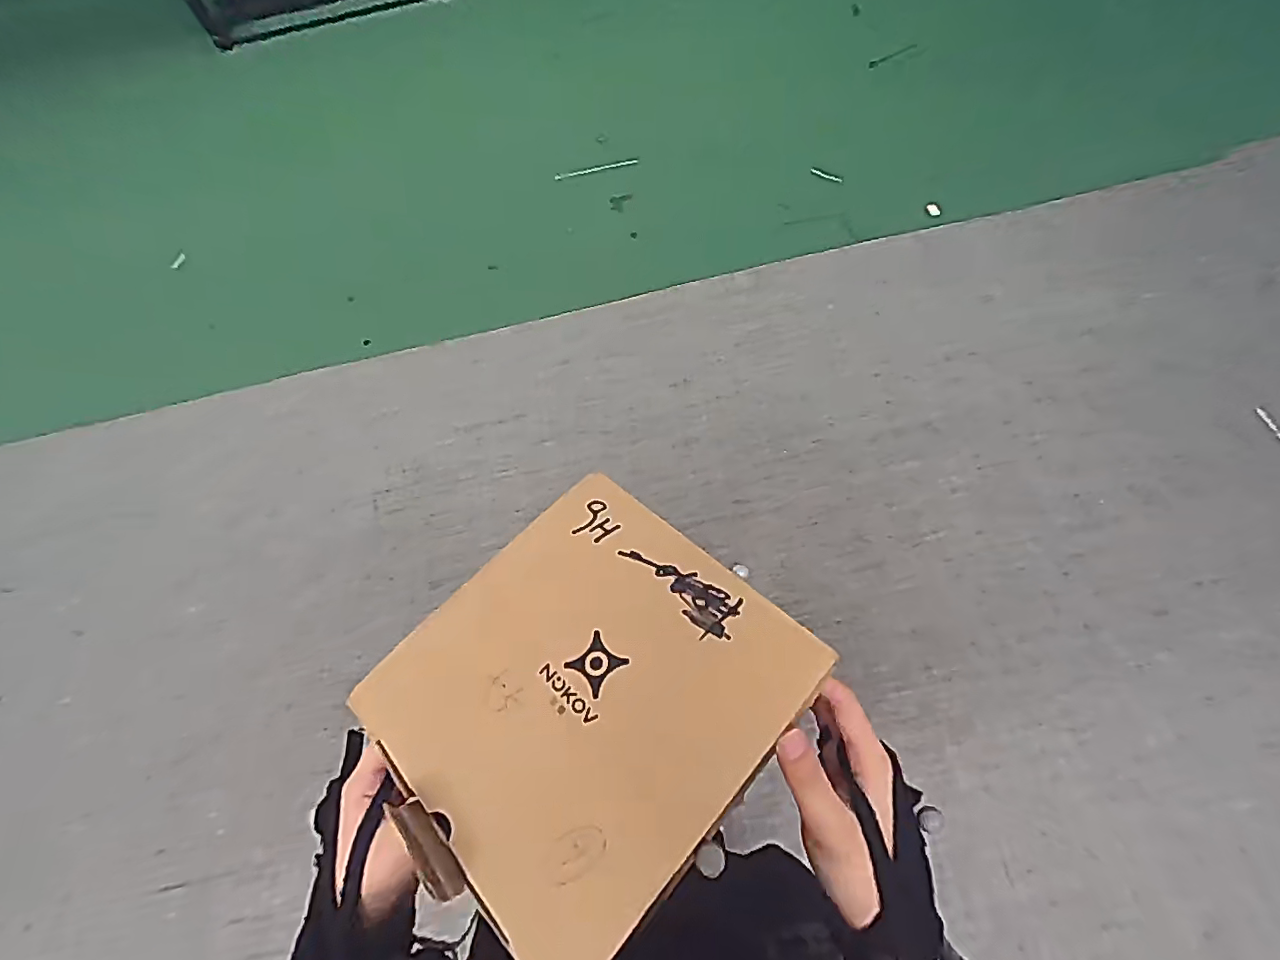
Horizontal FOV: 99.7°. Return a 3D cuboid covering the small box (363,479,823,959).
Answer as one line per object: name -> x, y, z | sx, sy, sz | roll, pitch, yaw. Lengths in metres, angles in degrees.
small box -> -0.015, 0.140, 0.330 | 0.168, 0.176, 0.179 | 37, 70, 27
